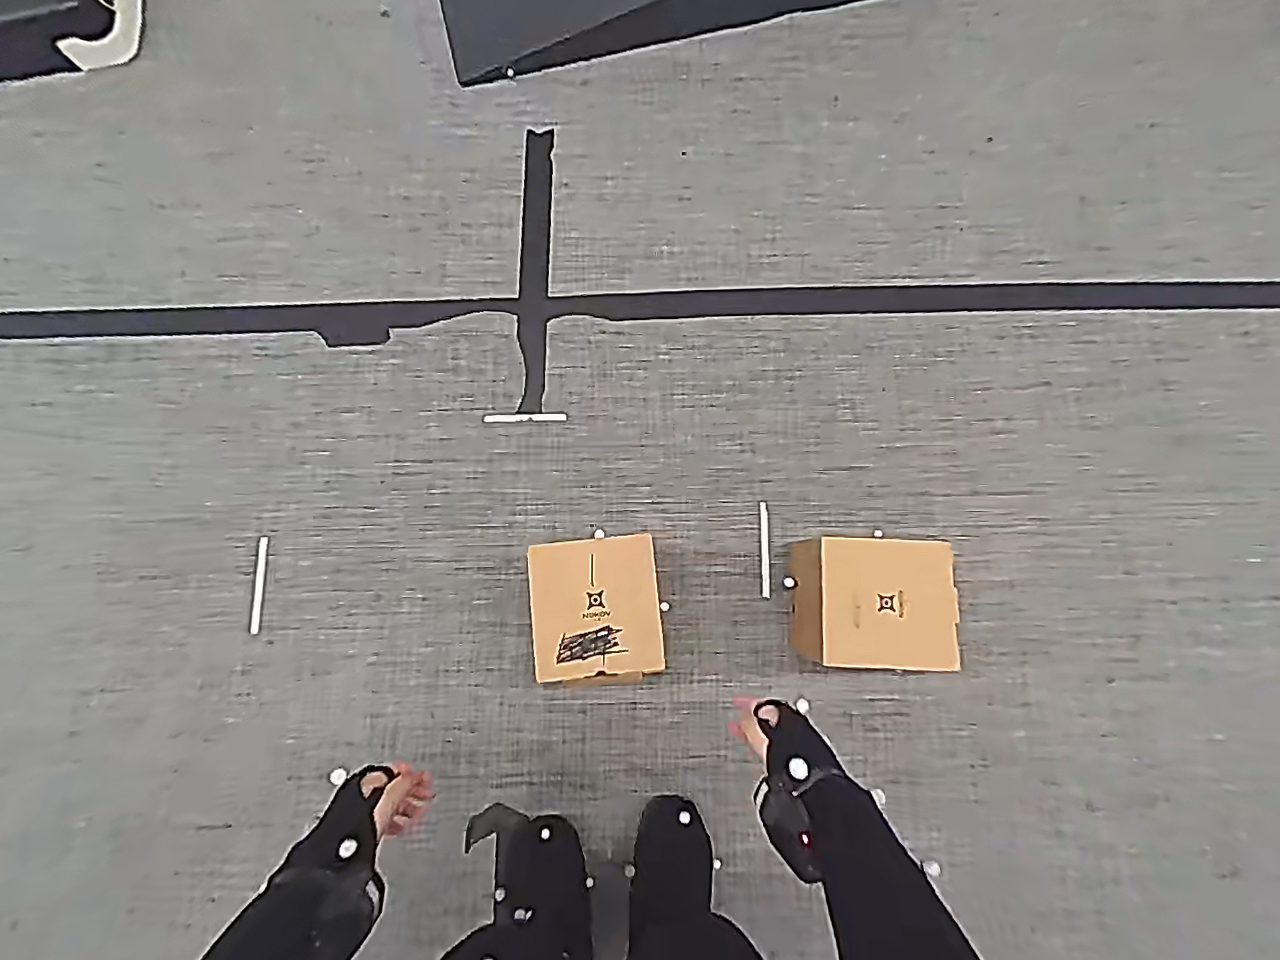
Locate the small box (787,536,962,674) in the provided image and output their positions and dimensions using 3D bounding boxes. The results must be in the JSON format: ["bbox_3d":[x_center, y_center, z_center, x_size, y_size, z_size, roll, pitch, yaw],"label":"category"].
[{"bbox_3d":[0.318,0.168,0.761,0.179,0.176,0.168,3,81,1],"label":"small box"}]

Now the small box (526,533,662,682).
[{"bbox_3d":[-0.058,0.170,0.759,0.168,0.176,0.179,-5,81,-1],"label":"small box"}]
